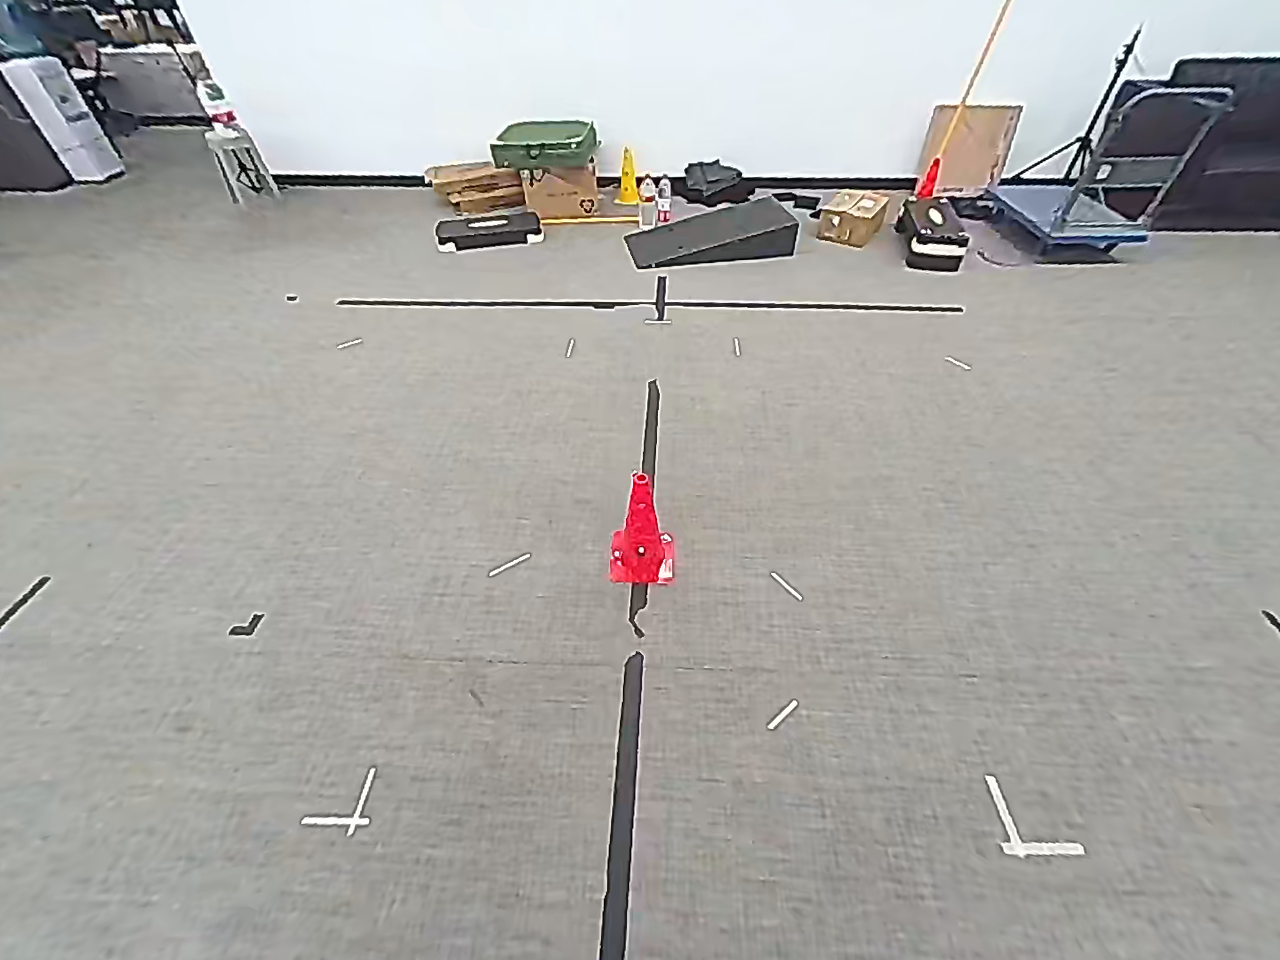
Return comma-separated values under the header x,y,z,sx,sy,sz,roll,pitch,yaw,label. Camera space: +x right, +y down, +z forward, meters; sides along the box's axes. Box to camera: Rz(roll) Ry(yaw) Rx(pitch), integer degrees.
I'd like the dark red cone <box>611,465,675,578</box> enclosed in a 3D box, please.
x,y,z,sx,sy,sz,roll,pitch,yaw,label
0.007,0.106,1.579,0.201,0.394,0.202,1,45,3,dark red cone
